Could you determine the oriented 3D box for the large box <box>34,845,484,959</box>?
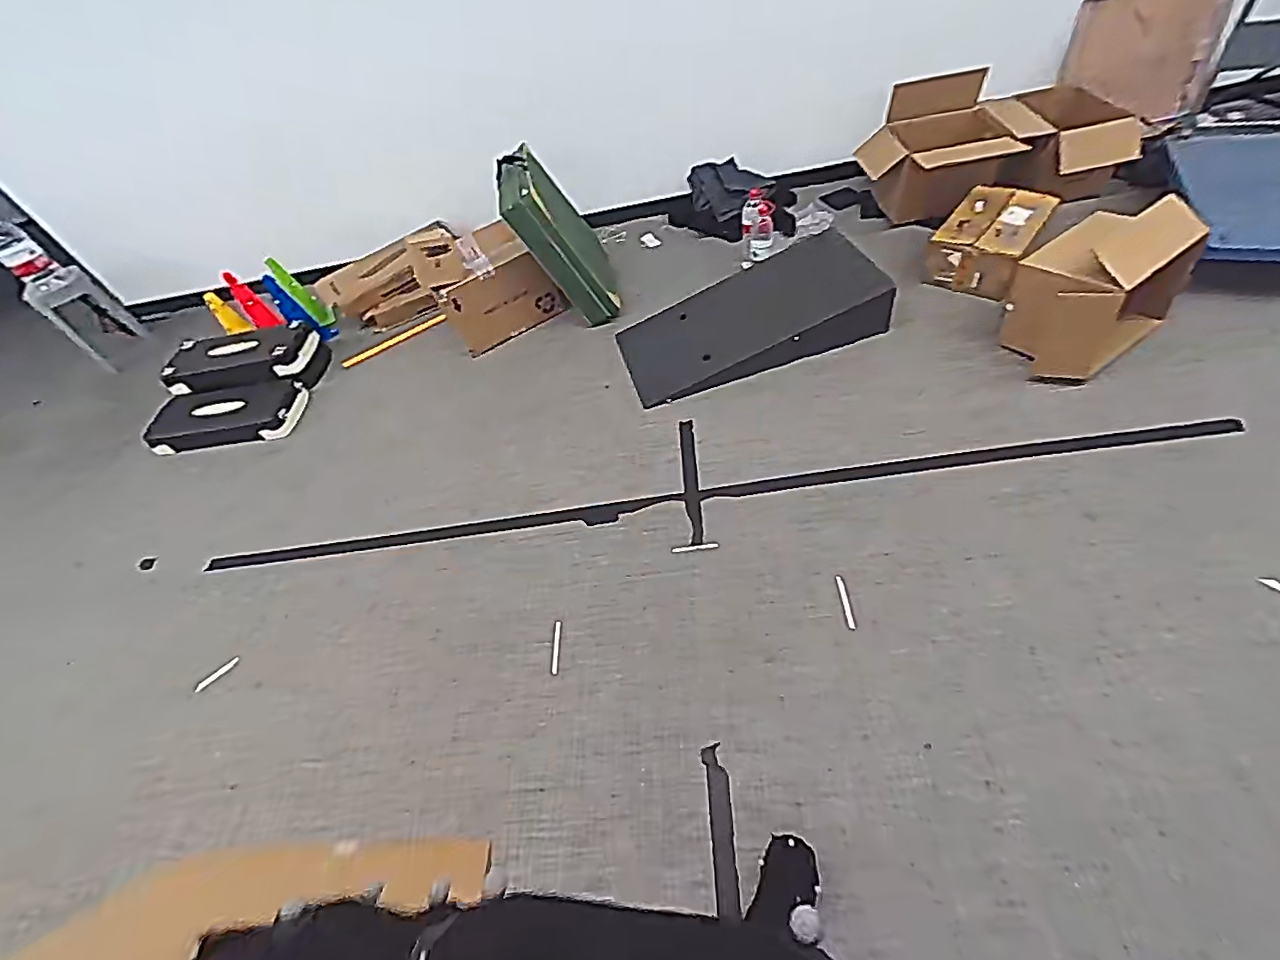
[{"bbox_3d":[-0.297,0.560,0.411,0.320,0.320,0.408,4,69,-13],"label":"large box"}]
